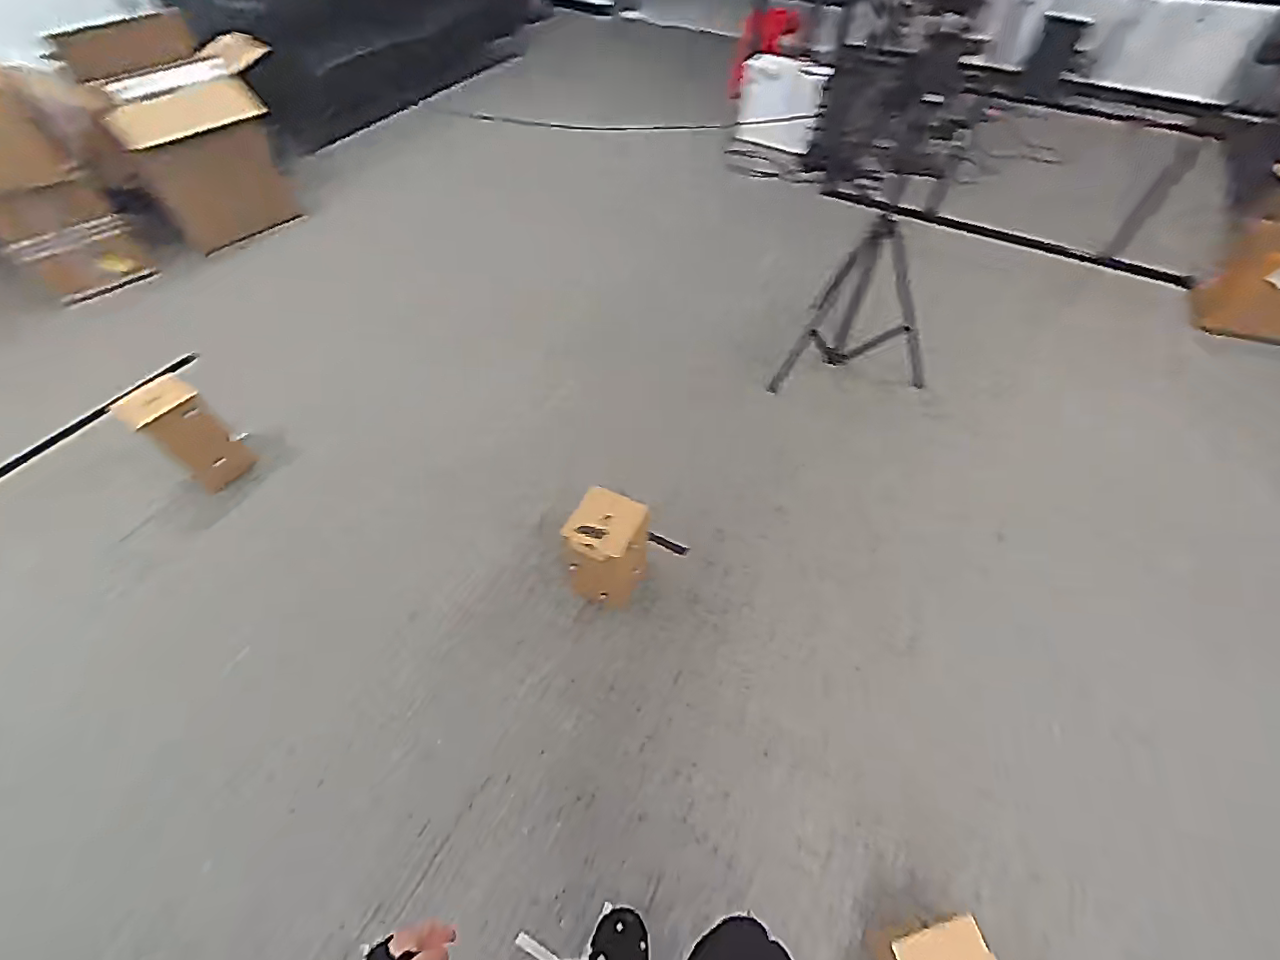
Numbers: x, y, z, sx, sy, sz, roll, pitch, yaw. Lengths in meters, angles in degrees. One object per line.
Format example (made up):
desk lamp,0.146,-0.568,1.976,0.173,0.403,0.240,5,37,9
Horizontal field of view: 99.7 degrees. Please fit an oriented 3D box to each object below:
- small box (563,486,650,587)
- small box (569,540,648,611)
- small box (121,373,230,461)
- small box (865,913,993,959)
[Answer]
small box,-0.081,0.154,1.435,0.168,0.176,0.179,23,56,15
small box,-0.086,0.250,1.568,0.168,0.176,0.179,22,55,15
small box,-1.435,-0.194,1.689,0.168,0.176,0.179,29,59,20
small box,0.570,0.959,1.036,0.179,0.176,0.168,-12,55,-9
